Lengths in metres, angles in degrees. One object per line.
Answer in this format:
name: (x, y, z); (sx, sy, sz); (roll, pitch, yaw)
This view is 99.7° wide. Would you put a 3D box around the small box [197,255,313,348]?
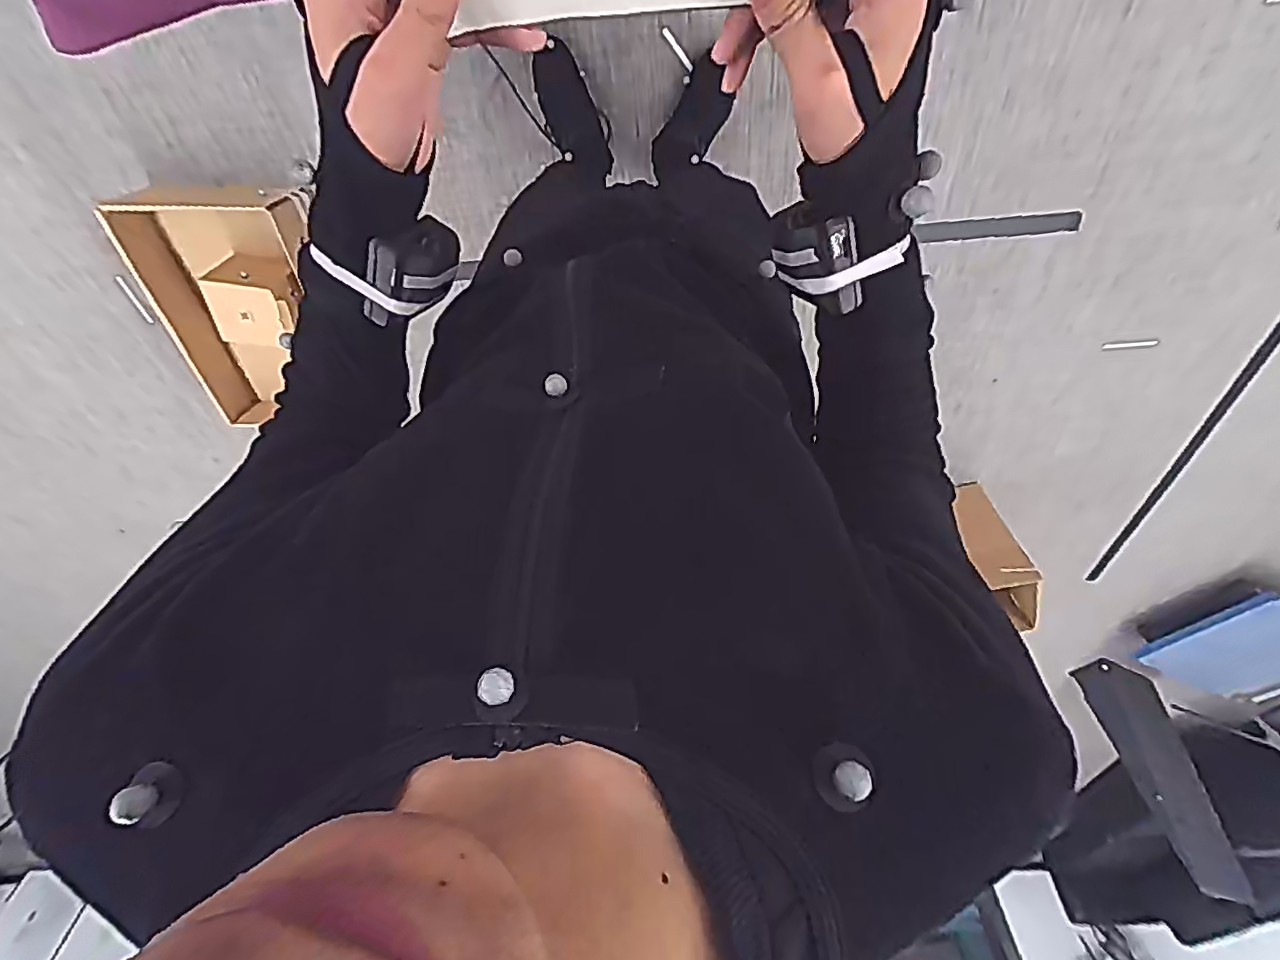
small box: (-0.979, -0.464, 1.401); (0.179, 0.176, 0.168); (6, 133, -6)
